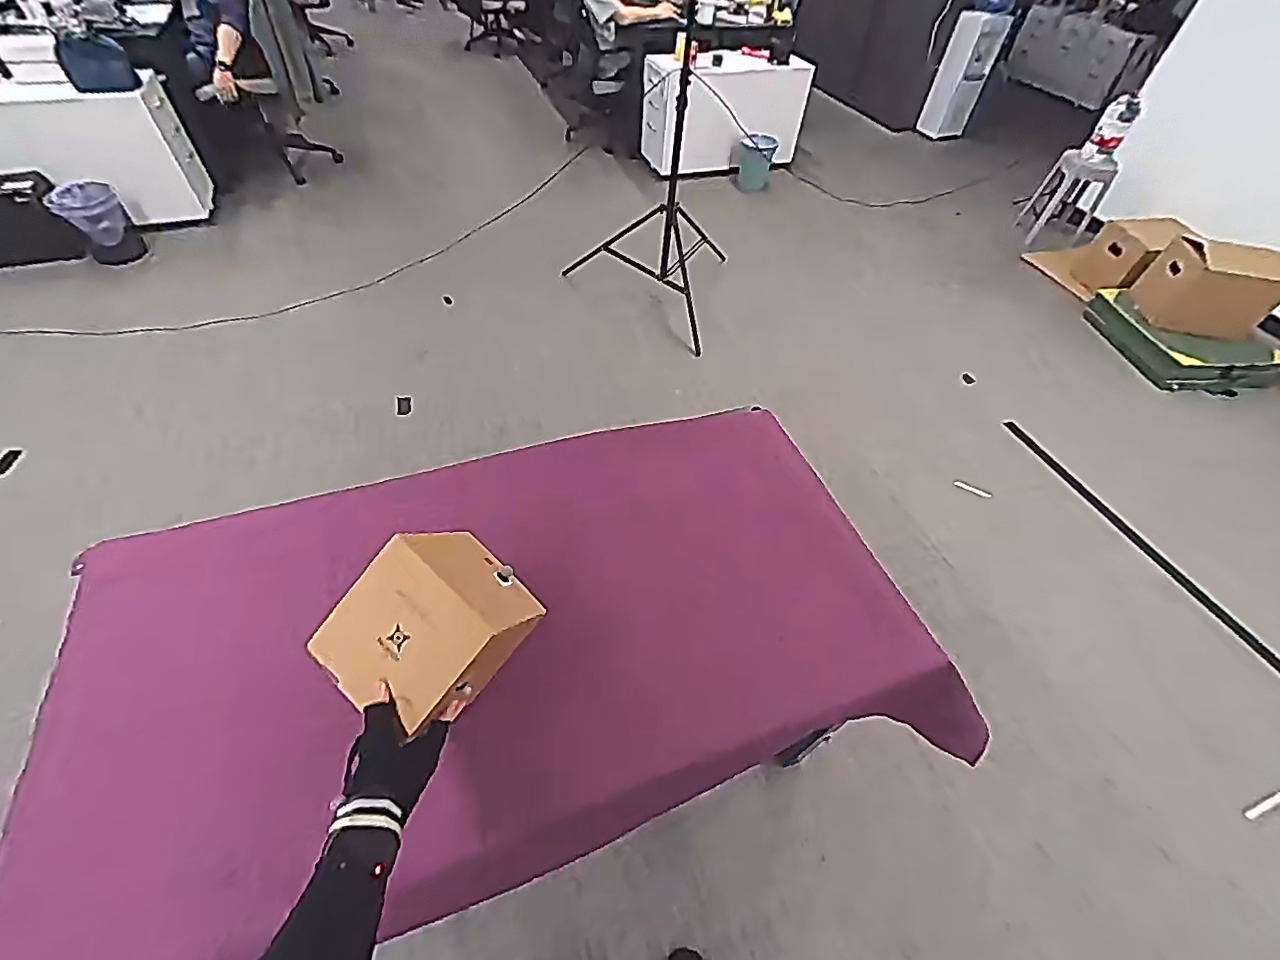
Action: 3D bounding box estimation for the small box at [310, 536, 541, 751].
[{"bbox_3d":[-0.254,0.189,0.682,0.168,0.176,0.179,40,95,10],"label":"small box"}]
